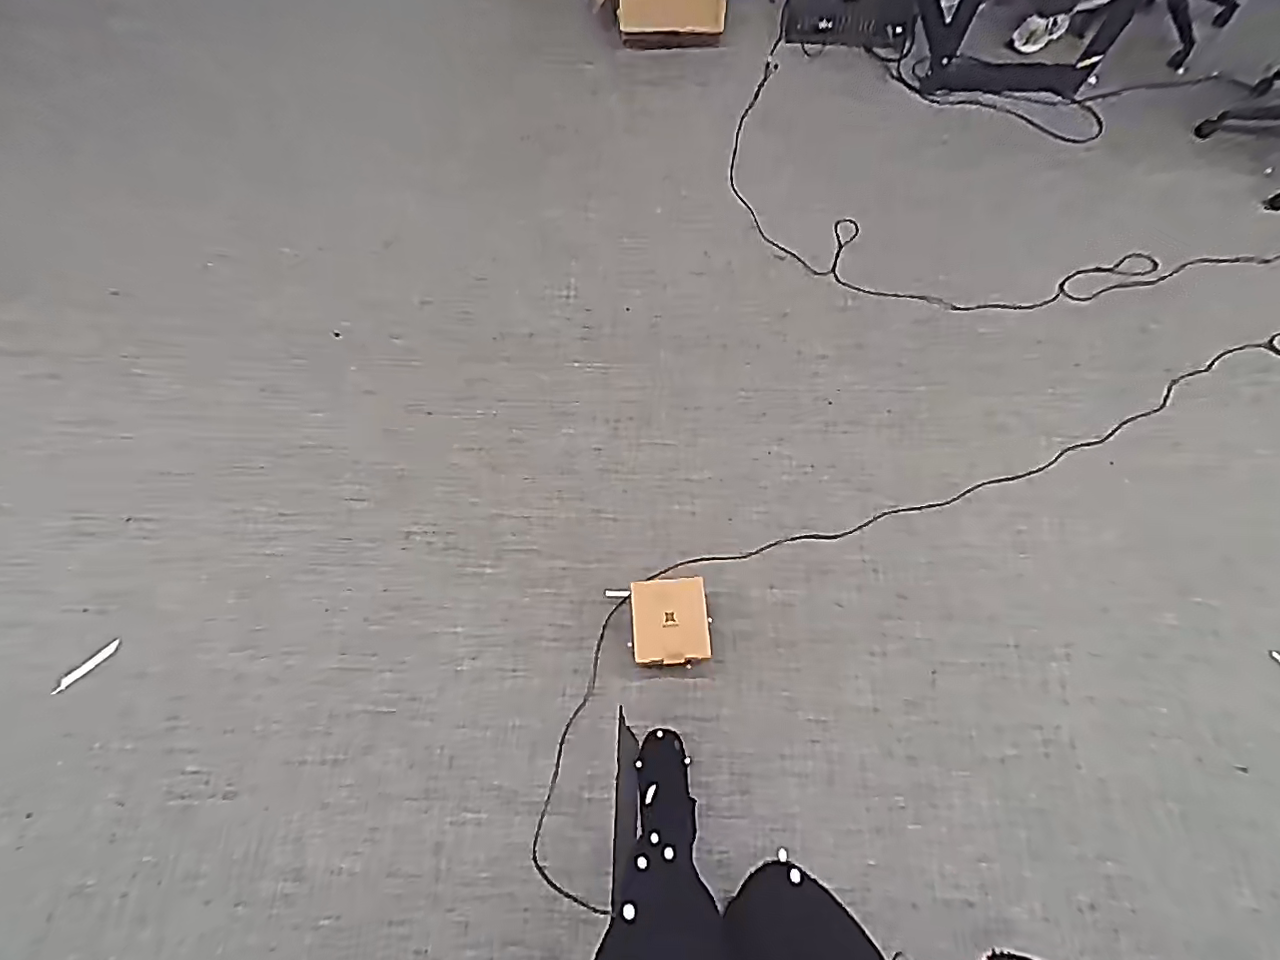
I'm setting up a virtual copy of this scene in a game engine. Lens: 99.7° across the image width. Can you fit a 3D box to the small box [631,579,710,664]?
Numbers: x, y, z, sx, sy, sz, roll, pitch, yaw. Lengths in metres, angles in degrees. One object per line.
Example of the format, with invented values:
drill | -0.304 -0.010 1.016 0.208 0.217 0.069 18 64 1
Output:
small box | 0.067 0.334 1.259 0.168 0.176 0.179 -3 69 -2
